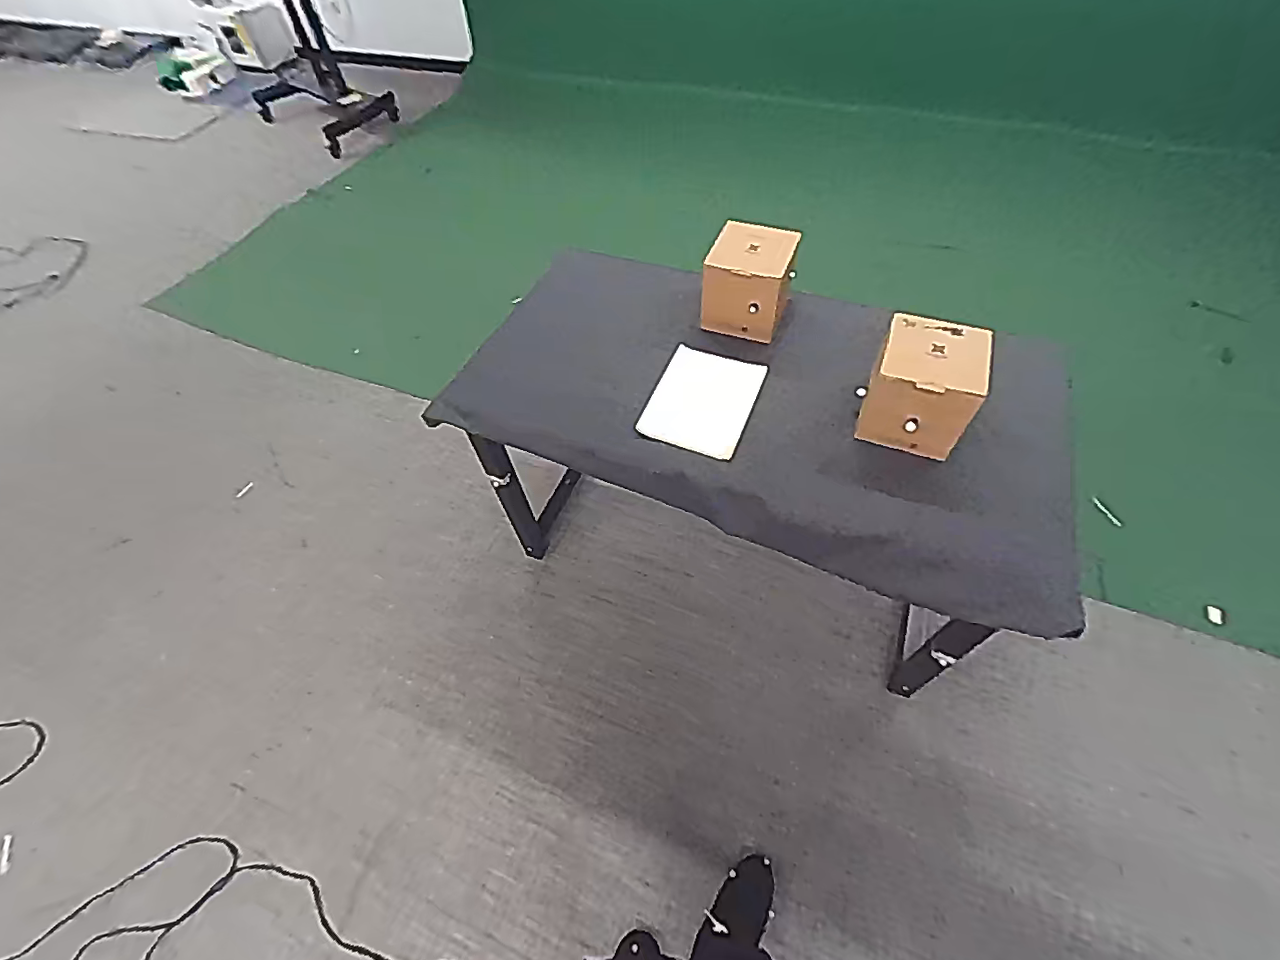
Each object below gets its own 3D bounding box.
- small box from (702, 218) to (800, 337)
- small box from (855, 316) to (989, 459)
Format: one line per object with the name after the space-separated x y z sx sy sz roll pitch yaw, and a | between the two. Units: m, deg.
0.238 -0.441 1.186 0.168 0.176 0.179 17 57 14 | small box
0.508 -0.164 0.991 0.168 0.176 0.179 18 59 15 | small box
